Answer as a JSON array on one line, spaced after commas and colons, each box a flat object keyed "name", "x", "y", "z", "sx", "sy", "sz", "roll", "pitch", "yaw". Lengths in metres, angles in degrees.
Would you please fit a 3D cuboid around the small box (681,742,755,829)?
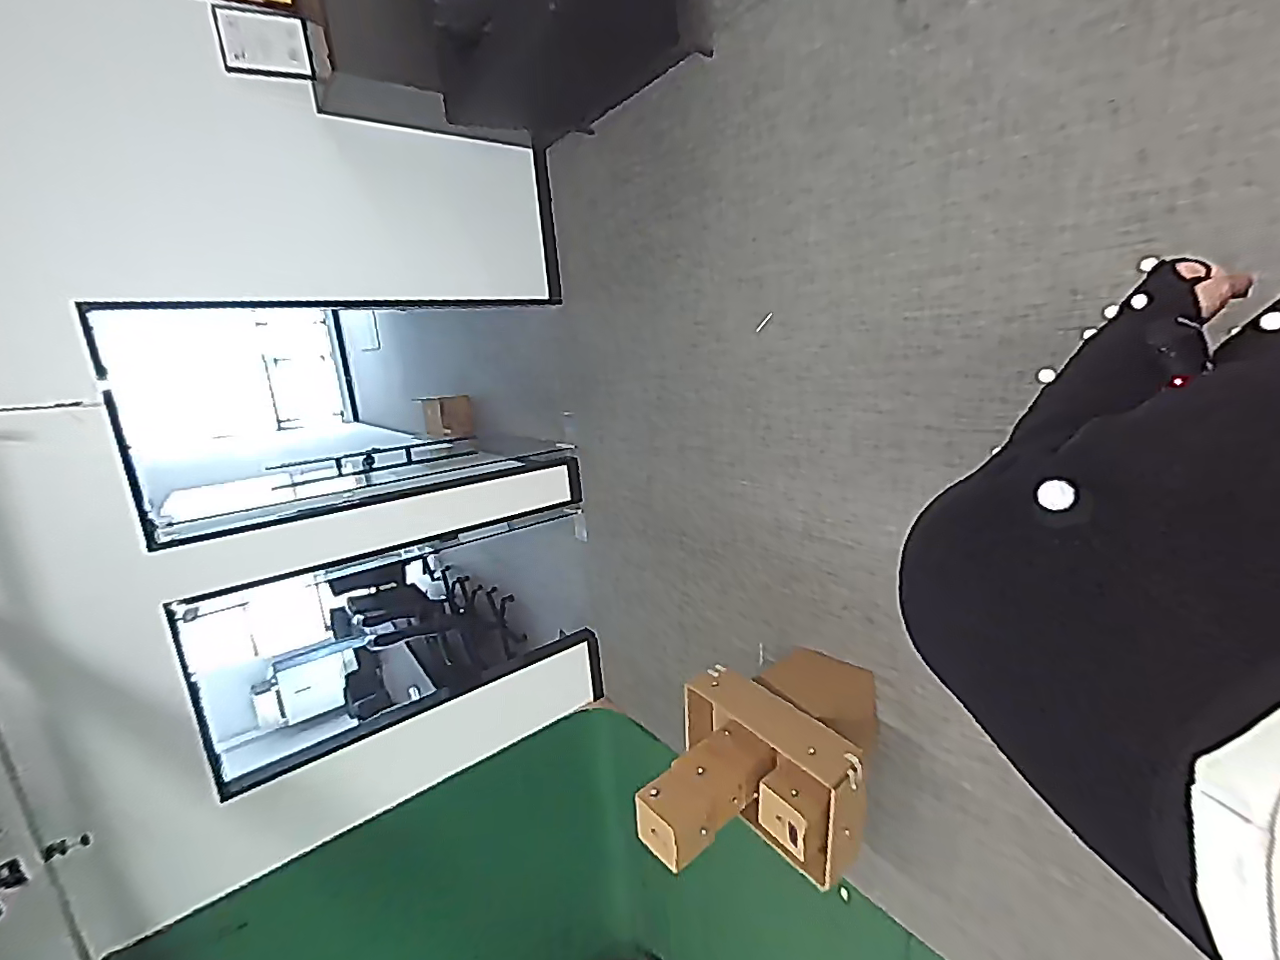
[{"name": "small box", "x": 0.253, "y": 0.996, "z": 1.772, "sx": 0.179, "sy": 0.176, "sz": 0.168, "roll": 16, "pitch": 113, "yaw": 49}]

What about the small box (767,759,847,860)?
[{"name": "small box", "x": 0.519, "y": 1.012, "z": 1.682, "sx": 0.179, "sy": 0.176, "sz": 0.168, "roll": 19, "pitch": 116, "yaw": 52}]

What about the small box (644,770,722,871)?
[{"name": "small box", "x": 0.134, "y": 1.031, "z": 1.662, "sx": 0.179, "sy": 0.176, "sz": 0.168, "roll": 13, "pitch": 112, "yaw": 49}]
